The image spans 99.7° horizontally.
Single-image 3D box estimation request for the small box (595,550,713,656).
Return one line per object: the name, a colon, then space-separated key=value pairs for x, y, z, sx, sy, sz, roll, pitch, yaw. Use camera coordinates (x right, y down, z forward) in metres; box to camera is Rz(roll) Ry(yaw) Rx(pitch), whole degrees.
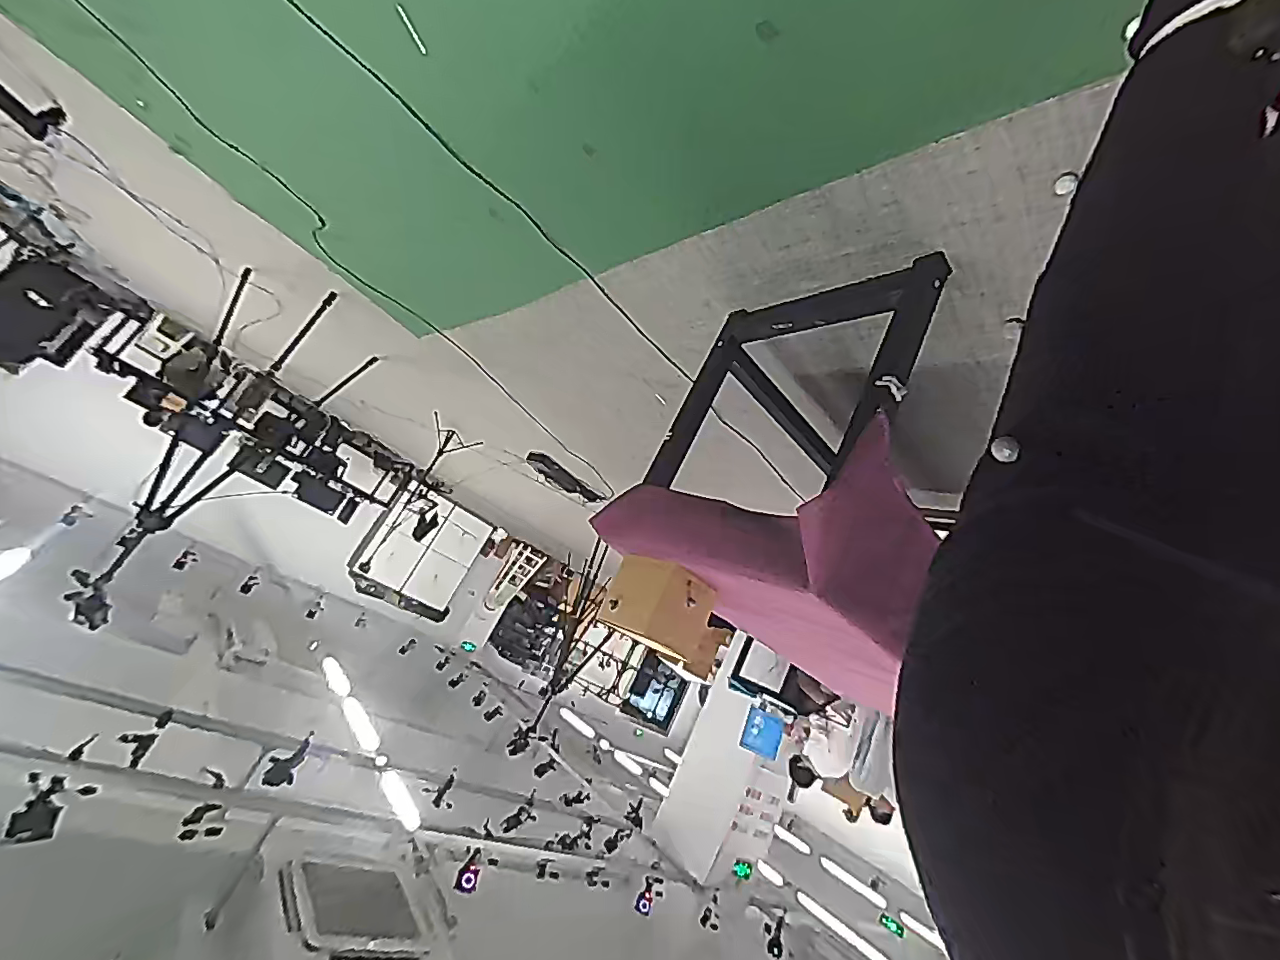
small box: x=0.036 y=0.273 z=1.234 sx=0.168 sy=0.176 sz=0.179 roll=38 pitch=158 yaw=-35
